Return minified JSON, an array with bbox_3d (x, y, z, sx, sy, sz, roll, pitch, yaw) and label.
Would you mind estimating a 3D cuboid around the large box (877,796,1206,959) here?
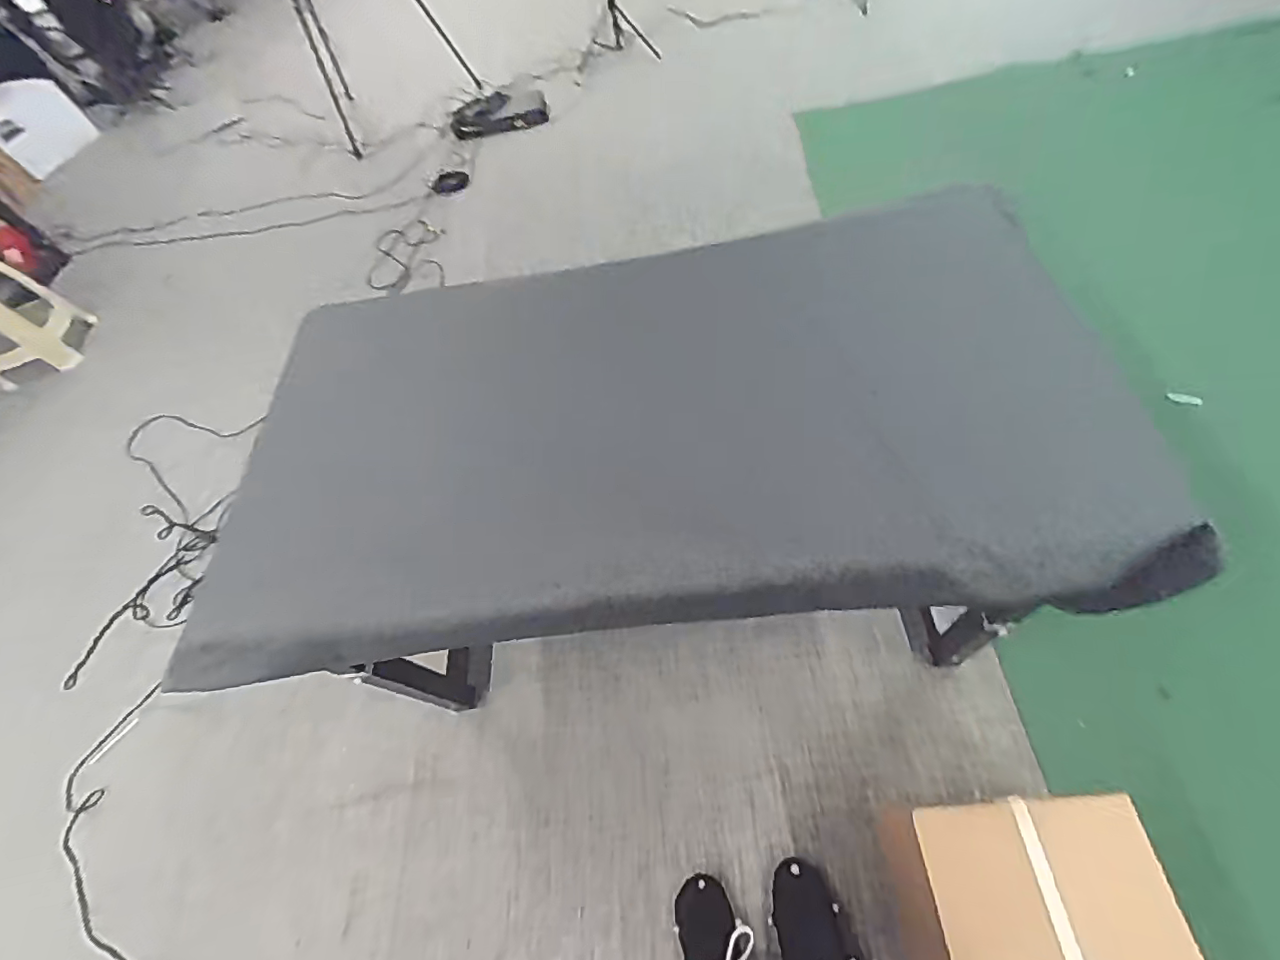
[{"bbox_3d":[0.607,0.732,0.831,0.320,0.320,0.408,-8,58,7],"label":"large box"}]
